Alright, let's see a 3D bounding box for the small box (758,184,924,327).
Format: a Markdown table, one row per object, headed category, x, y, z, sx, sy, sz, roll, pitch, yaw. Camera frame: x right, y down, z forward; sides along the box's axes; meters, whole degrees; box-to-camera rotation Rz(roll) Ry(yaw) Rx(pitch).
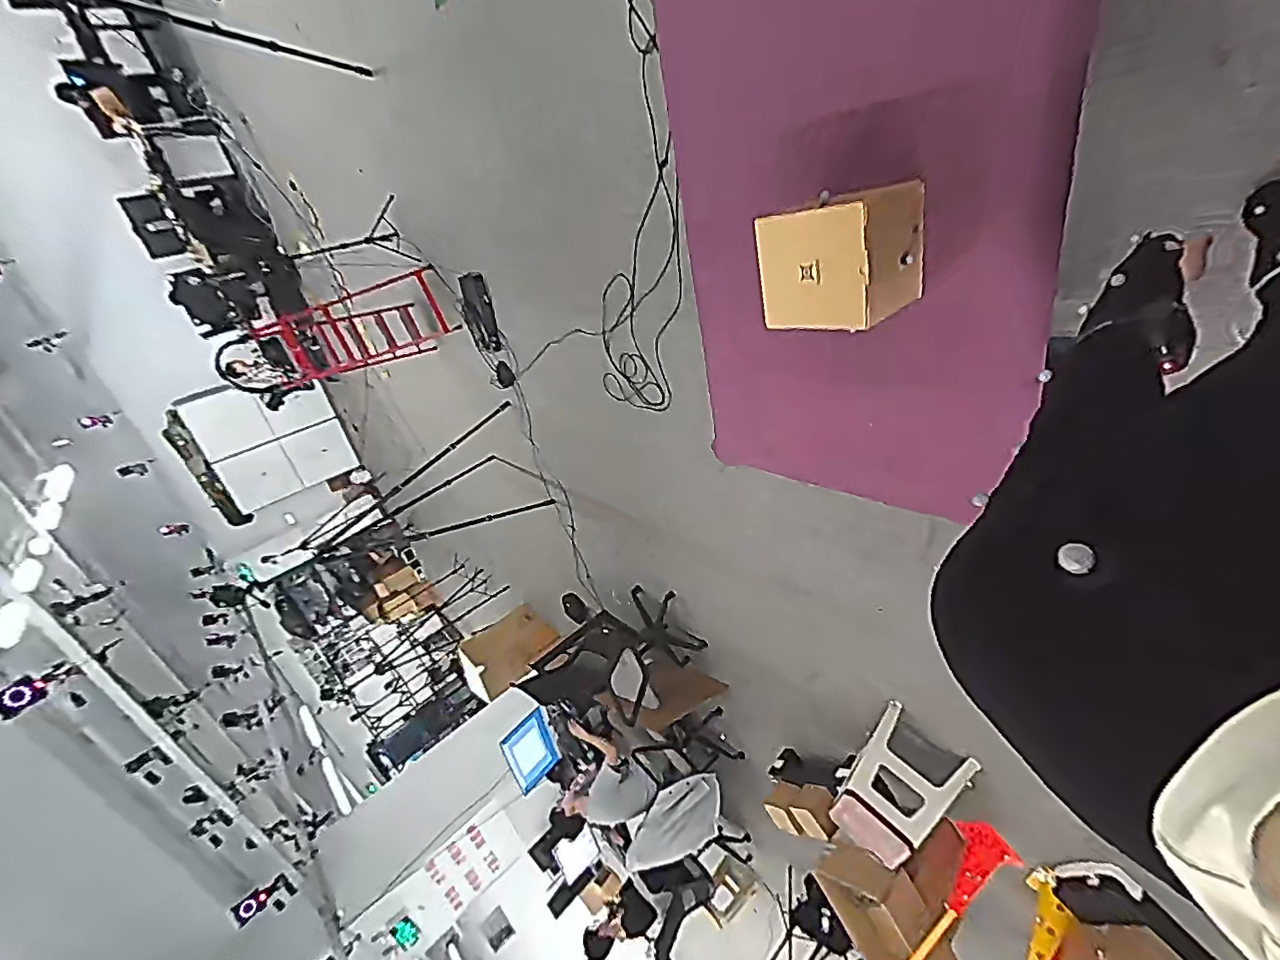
| category | x | y | z | sx | sy | sz | roll | pitch | yaw |
| --- | --- | --- | --- | --- | --- | --- | --- | --- | --- |
| small box | 0.307 | -0.341 | 0.830 | 0.179 | 0.176 | 0.168 | 16 | 129 | 46 |
